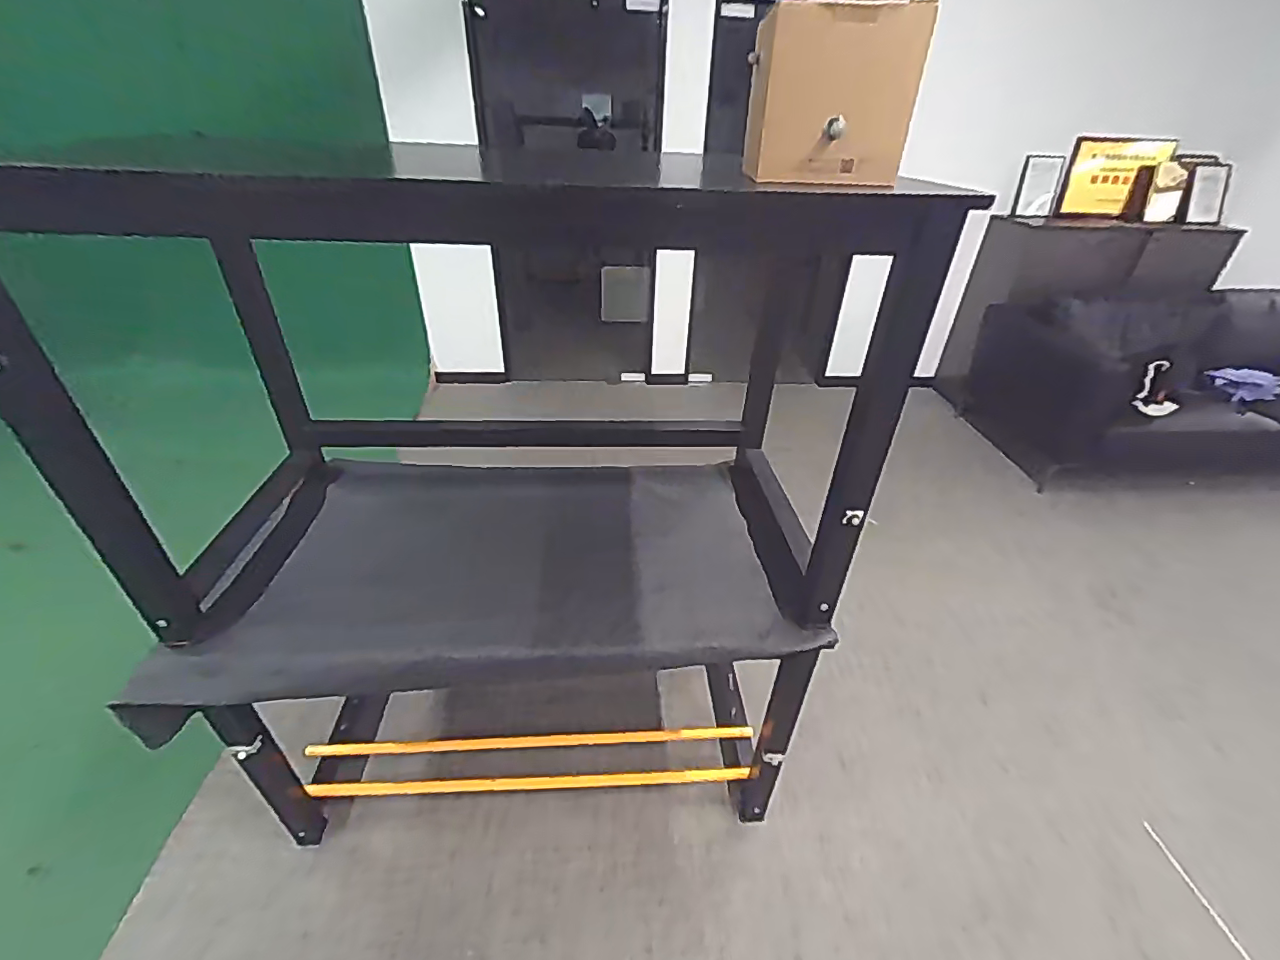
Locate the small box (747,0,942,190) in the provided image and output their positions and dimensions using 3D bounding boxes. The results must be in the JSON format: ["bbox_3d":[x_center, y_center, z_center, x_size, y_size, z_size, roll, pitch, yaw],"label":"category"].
[{"bbox_3d":[0.231,-0.465,0.667,0.168,0.176,0.179,3,34,3],"label":"small box"}]
